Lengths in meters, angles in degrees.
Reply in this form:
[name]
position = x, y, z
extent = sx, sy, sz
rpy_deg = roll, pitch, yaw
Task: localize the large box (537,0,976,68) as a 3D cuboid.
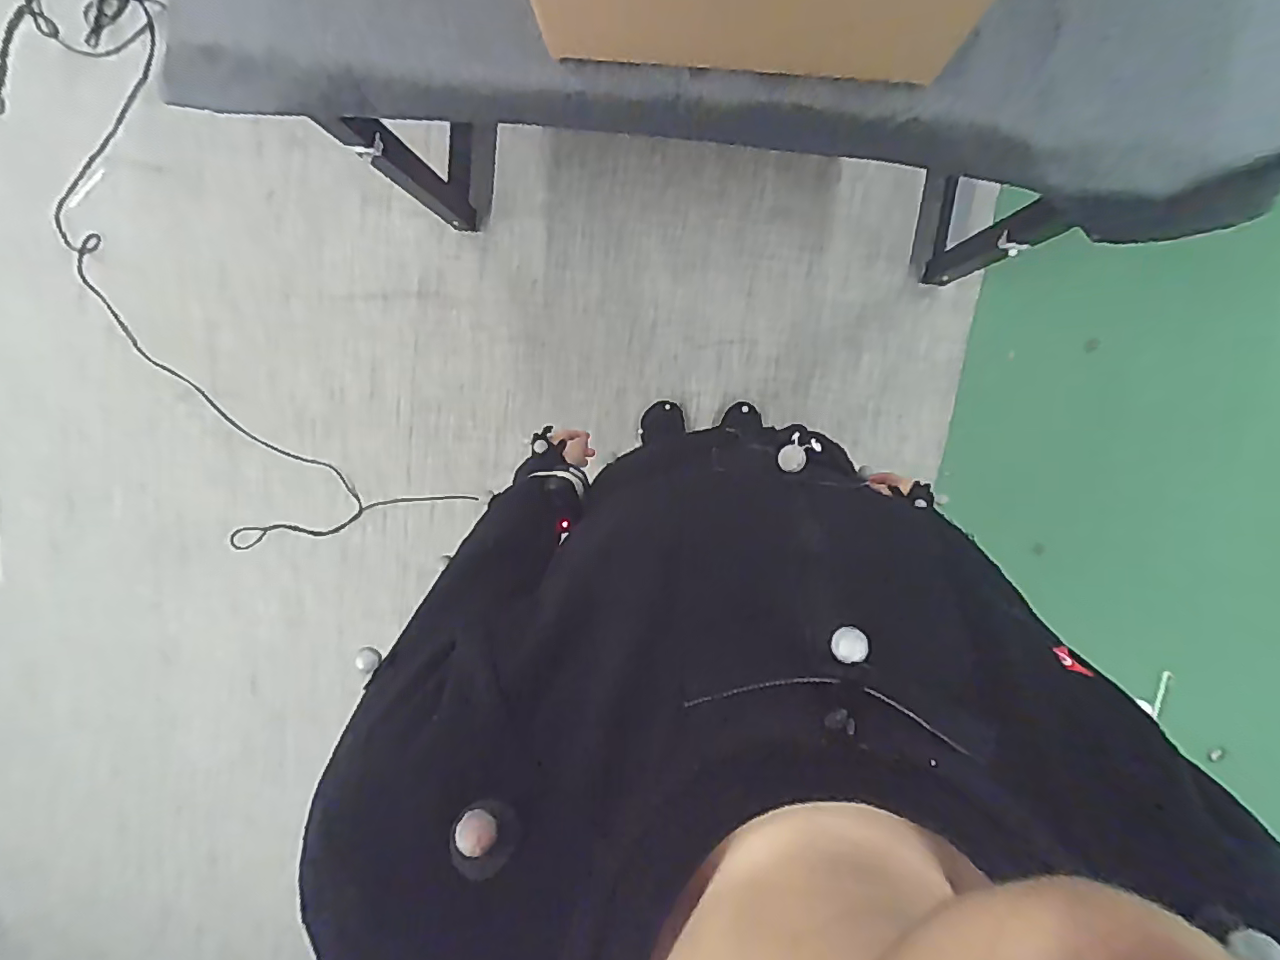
[large box]
position = 0.105, -0.571, 0.402
extent = 0.408, 0.320, 0.320
rpy_deg = 5, 97, 2
